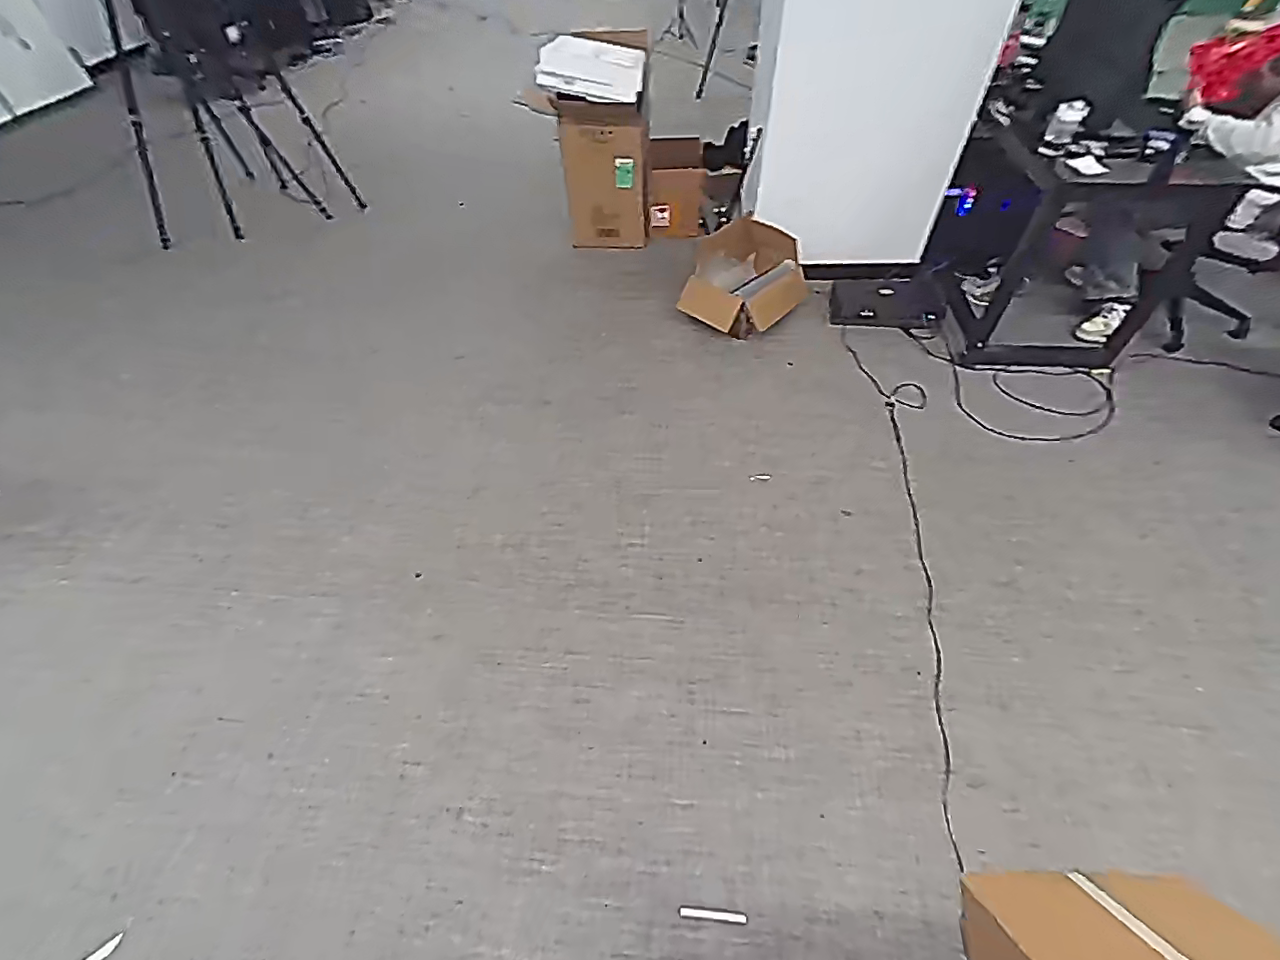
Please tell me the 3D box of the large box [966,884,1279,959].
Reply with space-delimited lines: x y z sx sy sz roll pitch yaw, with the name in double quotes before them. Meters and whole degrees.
"large box" 0.613 0.710 0.566 0.320 0.408 0.320 -3 81 5
